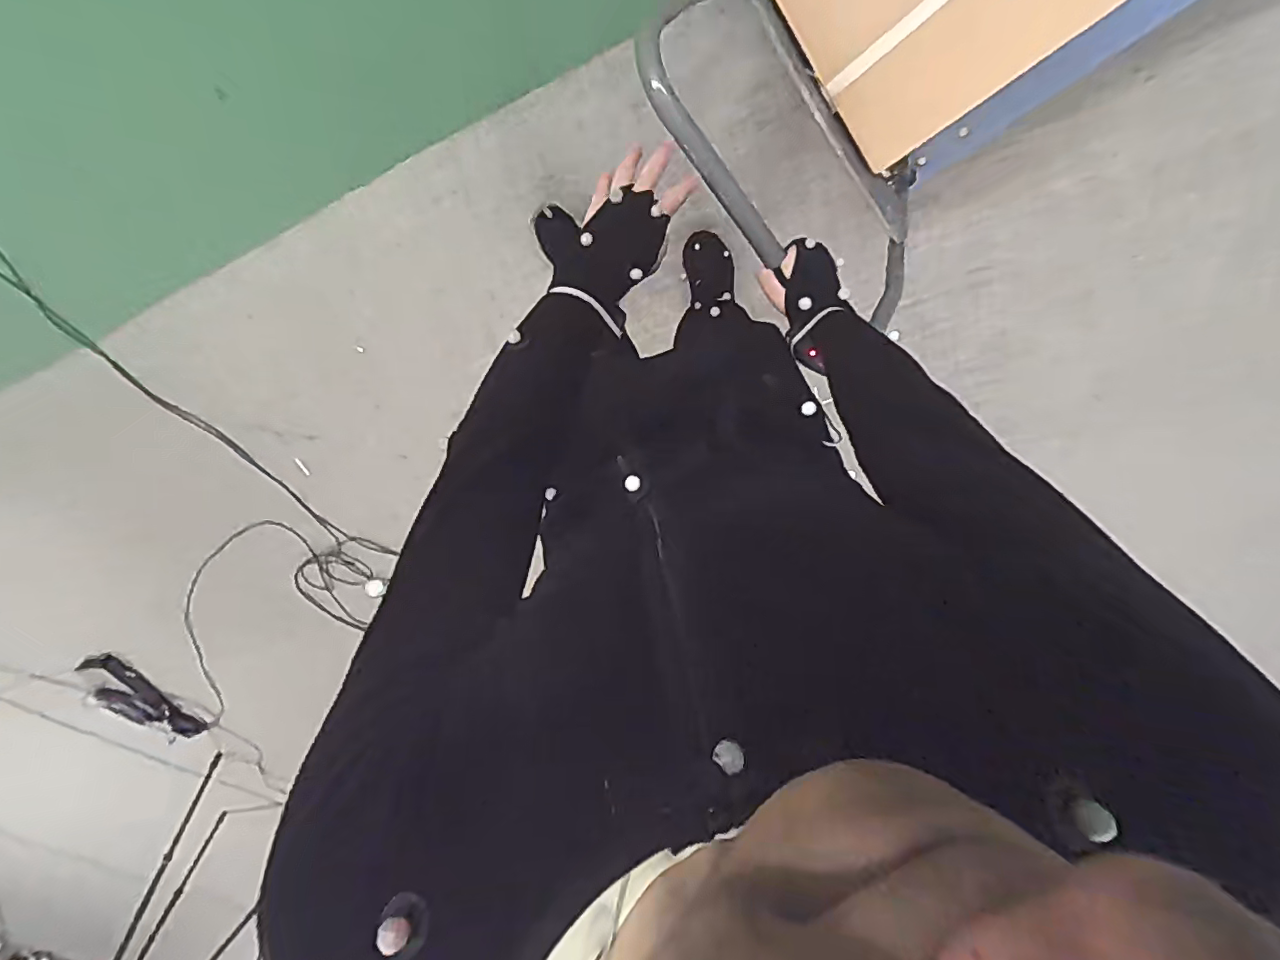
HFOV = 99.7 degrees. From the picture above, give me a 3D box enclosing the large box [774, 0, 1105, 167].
[{"bbox_3d":[0.467,-0.788,0.829,0.408,0.320,0.320,-25,120,38],"label":"large box"}]
